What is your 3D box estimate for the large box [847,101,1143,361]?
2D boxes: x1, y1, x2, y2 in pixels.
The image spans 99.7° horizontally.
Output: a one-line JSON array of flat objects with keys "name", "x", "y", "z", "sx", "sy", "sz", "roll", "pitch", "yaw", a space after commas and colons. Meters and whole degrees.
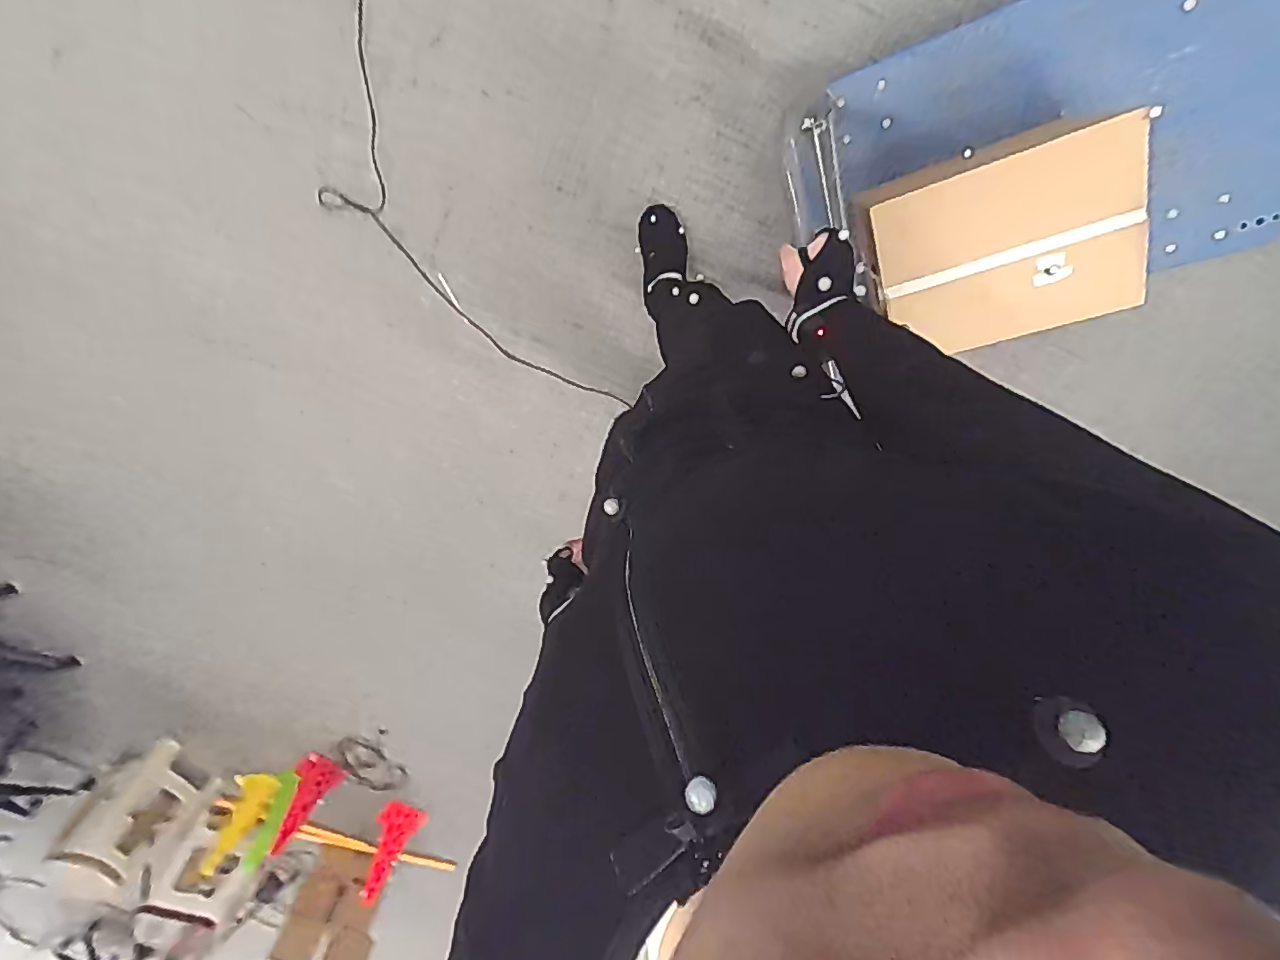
[{"name": "large box", "x": 0.666, "y": -0.478, "z": 1.076, "sx": 0.408, "sy": 0.320, "sz": 0.320, "roll": -13, "pitch": 117, "yaw": 20}]
